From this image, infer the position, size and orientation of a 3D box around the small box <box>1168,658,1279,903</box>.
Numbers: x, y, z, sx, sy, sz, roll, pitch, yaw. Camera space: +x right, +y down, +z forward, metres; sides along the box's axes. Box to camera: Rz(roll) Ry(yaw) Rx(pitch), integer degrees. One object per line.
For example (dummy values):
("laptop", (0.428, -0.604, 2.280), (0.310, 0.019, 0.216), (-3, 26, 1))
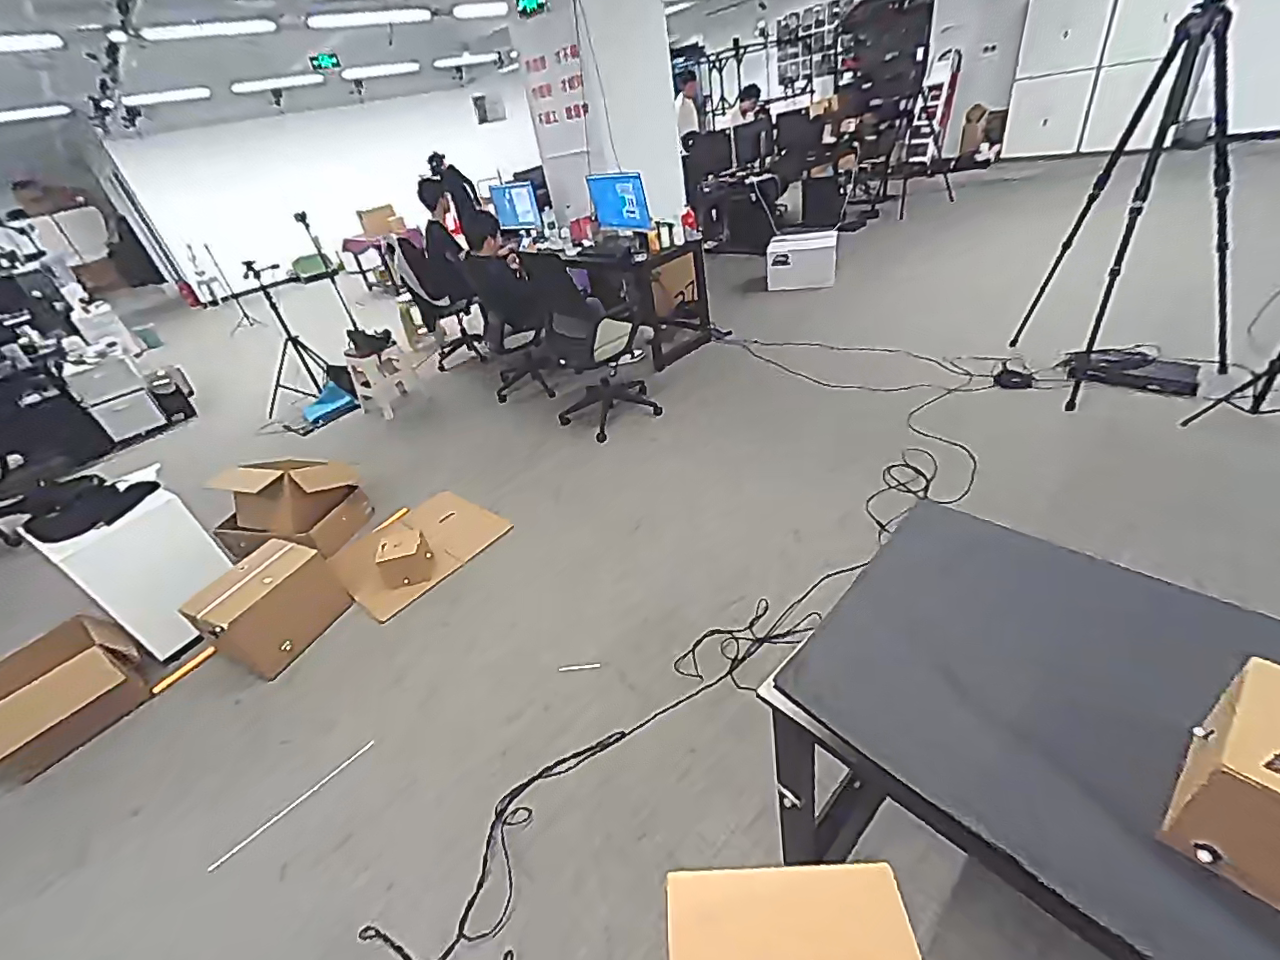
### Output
("small box", (0.701, 0.334, 0.564), (0.179, 0.176, 0.168), (-32, 39, -29))

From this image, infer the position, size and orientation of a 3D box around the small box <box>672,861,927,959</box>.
("small box", (0.109, 0.396, 0.365), (0.168, 0.176, 0.179), (-5, 31, 3))
